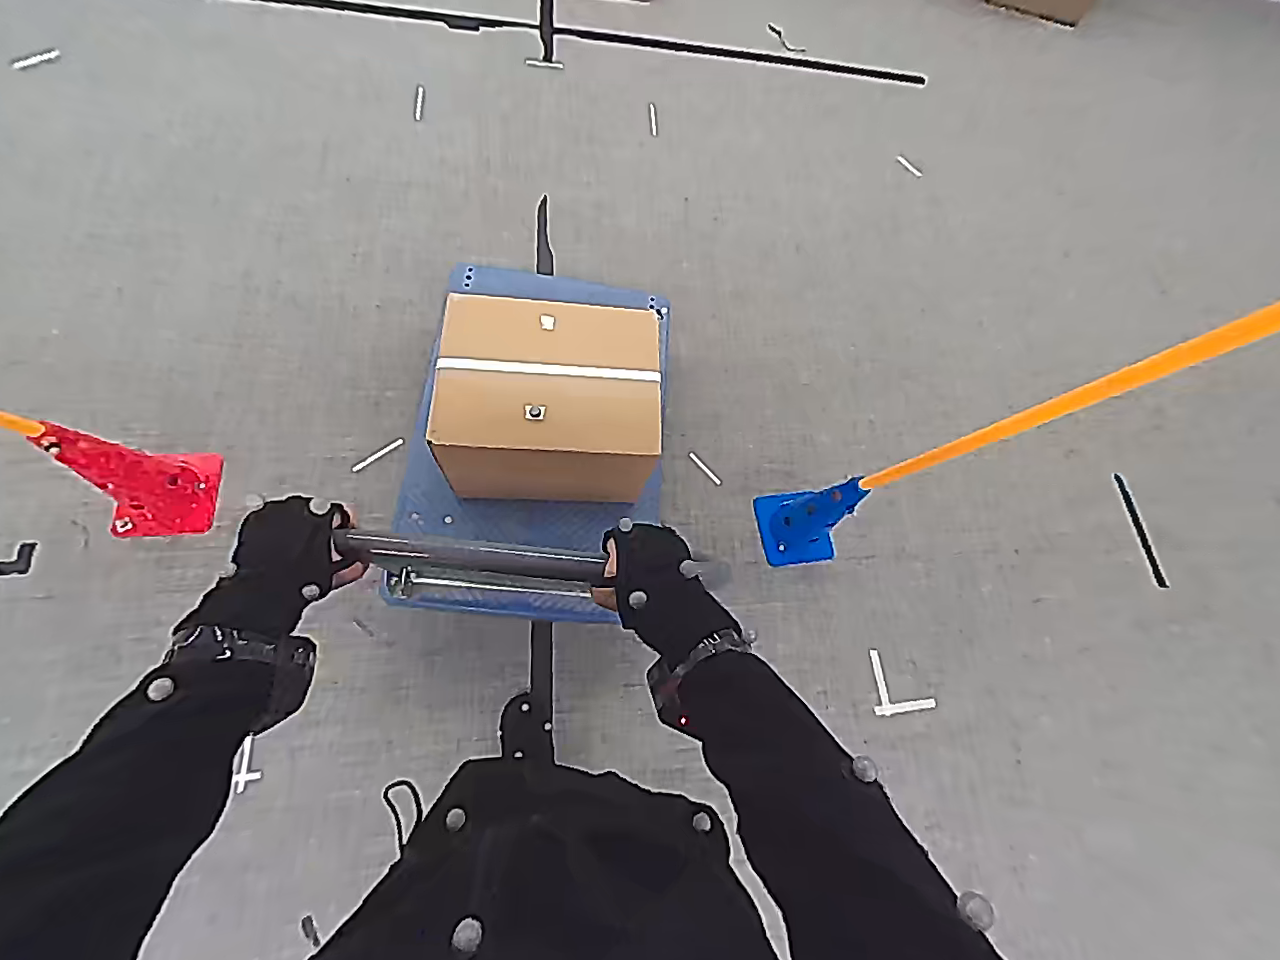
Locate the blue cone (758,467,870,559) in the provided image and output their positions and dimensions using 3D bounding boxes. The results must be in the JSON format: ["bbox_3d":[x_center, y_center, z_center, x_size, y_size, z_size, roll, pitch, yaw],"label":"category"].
[{"bbox_3d":[0.457,0.062,1.340,0.193,0.380,0.192,-4,70,-12],"label":"blue cone"}]
